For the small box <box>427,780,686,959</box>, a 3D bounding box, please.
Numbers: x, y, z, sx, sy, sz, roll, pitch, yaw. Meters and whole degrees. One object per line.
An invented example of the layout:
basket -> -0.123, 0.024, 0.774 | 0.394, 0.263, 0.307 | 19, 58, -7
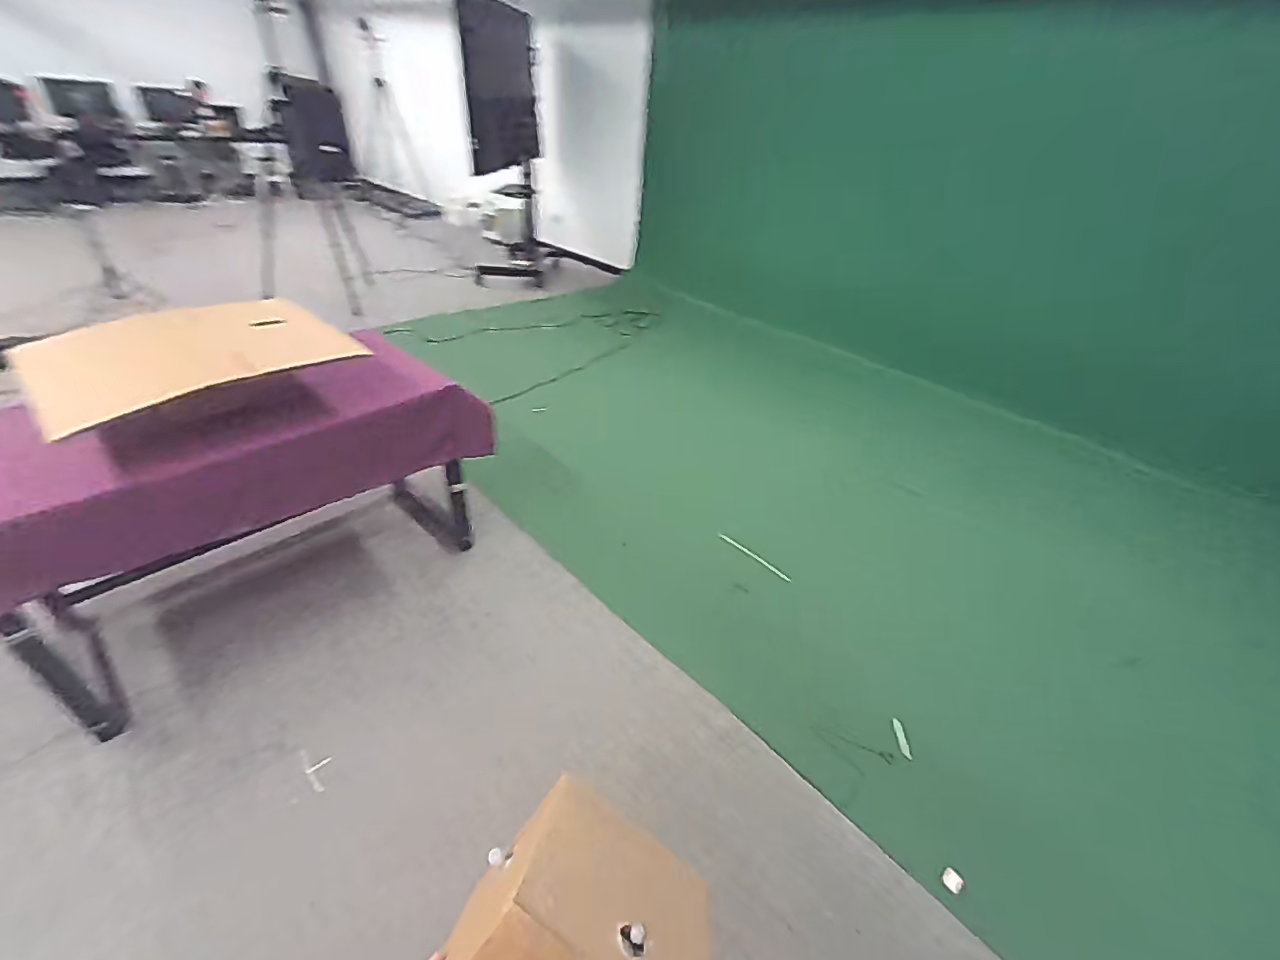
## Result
small box -> -0.071, 0.408, 0.467 | 0.179, 0.168, 0.176 | 36, 3, 4
